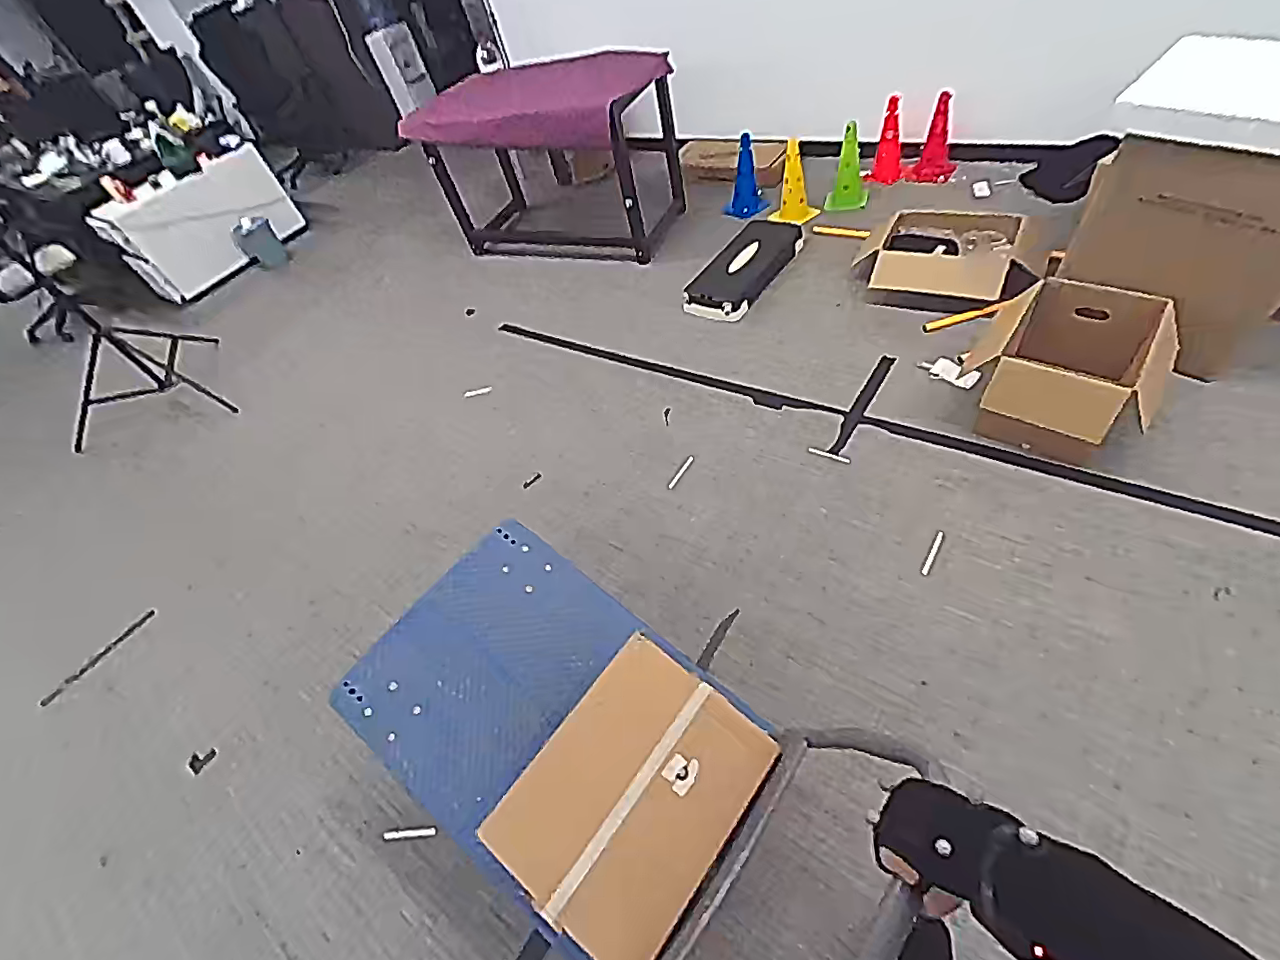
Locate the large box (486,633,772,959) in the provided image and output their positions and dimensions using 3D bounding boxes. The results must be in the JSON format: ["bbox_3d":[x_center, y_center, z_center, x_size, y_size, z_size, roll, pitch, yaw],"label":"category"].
[{"bbox_3d":[-0.012,0.575,1.016,0.320,0.320,0.408,35,66,16],"label":"large box"}]
